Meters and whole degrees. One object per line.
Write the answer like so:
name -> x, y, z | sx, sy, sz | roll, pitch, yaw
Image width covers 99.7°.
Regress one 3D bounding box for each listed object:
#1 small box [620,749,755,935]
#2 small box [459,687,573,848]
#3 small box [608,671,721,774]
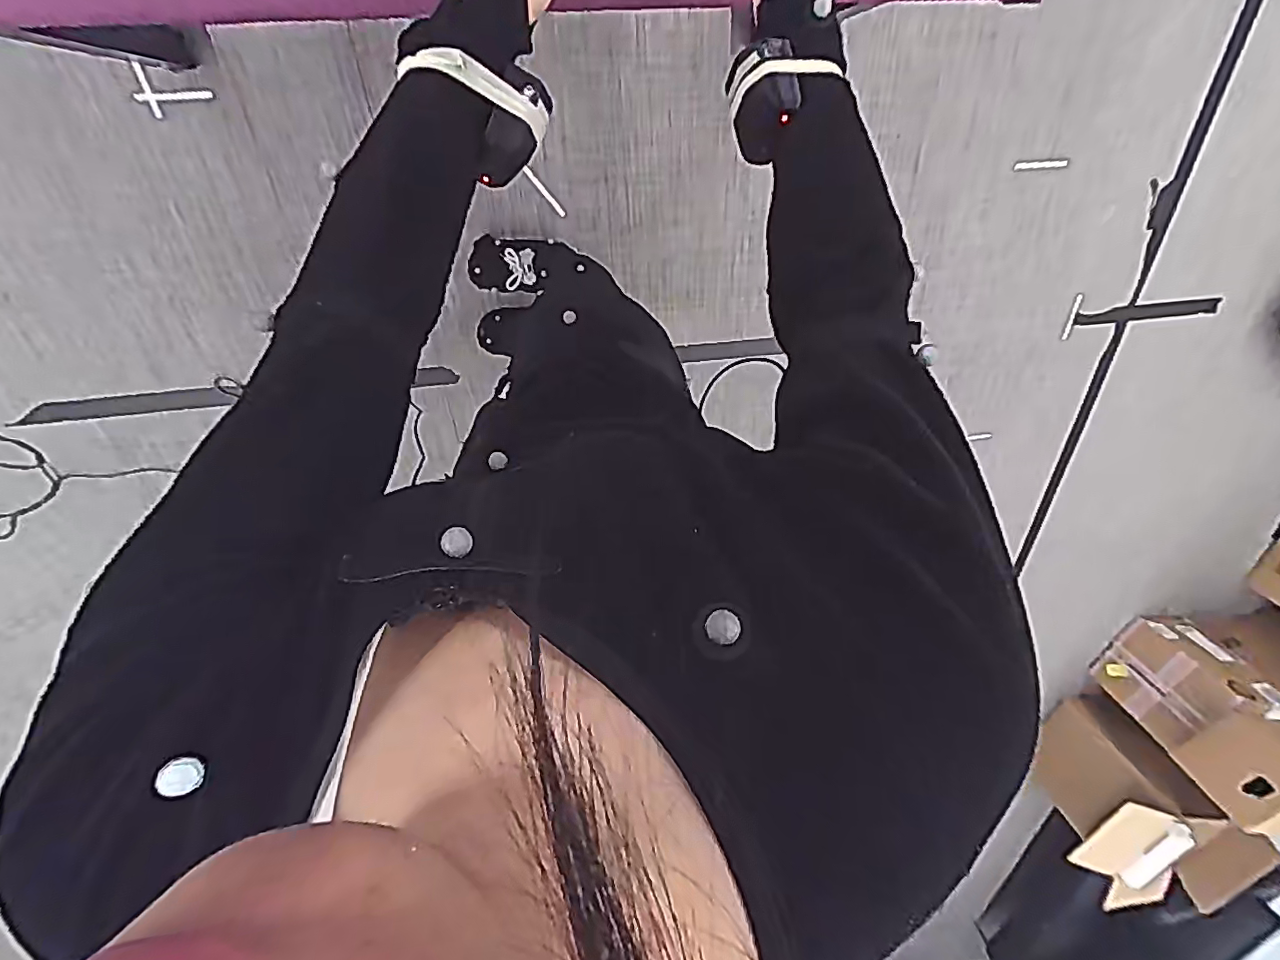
small box -> 0.066, 0.551, 0.833 | 0.168, 0.176, 0.179 | -9, 123, -8
small box -> -0.205, 0.487, 0.928 | 0.168, 0.176, 0.179 | -6, 122, -9
small box -> 0.039, 0.463, 0.967 | 0.168, 0.176, 0.179 | -8, 124, -7
